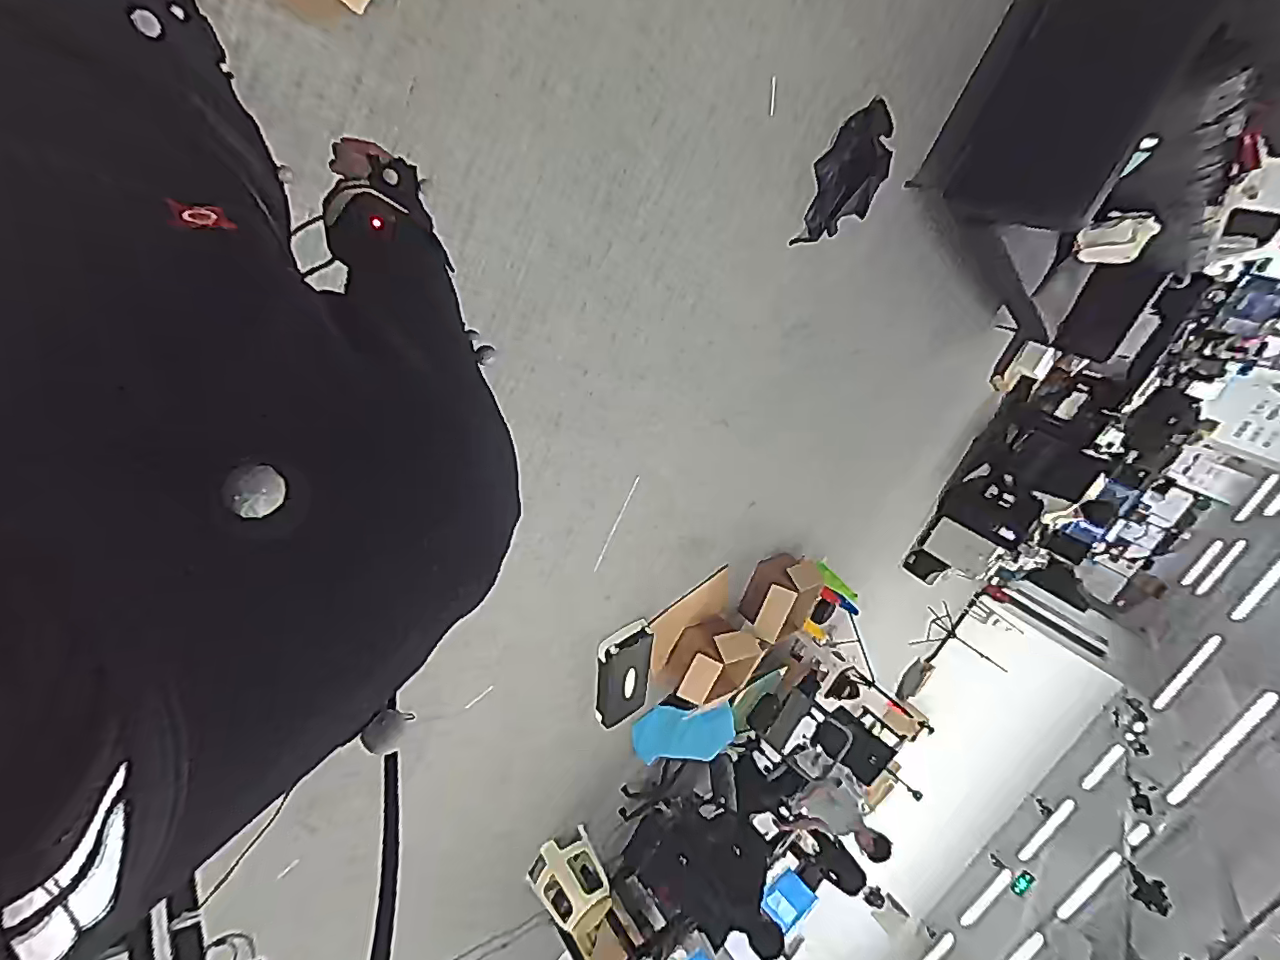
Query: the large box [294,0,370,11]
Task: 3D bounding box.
[{"bbox_3d":[-0.533,-0.912,0.682,0.408,0.320,0.320,17,108,-51],"label":"large box"}]
